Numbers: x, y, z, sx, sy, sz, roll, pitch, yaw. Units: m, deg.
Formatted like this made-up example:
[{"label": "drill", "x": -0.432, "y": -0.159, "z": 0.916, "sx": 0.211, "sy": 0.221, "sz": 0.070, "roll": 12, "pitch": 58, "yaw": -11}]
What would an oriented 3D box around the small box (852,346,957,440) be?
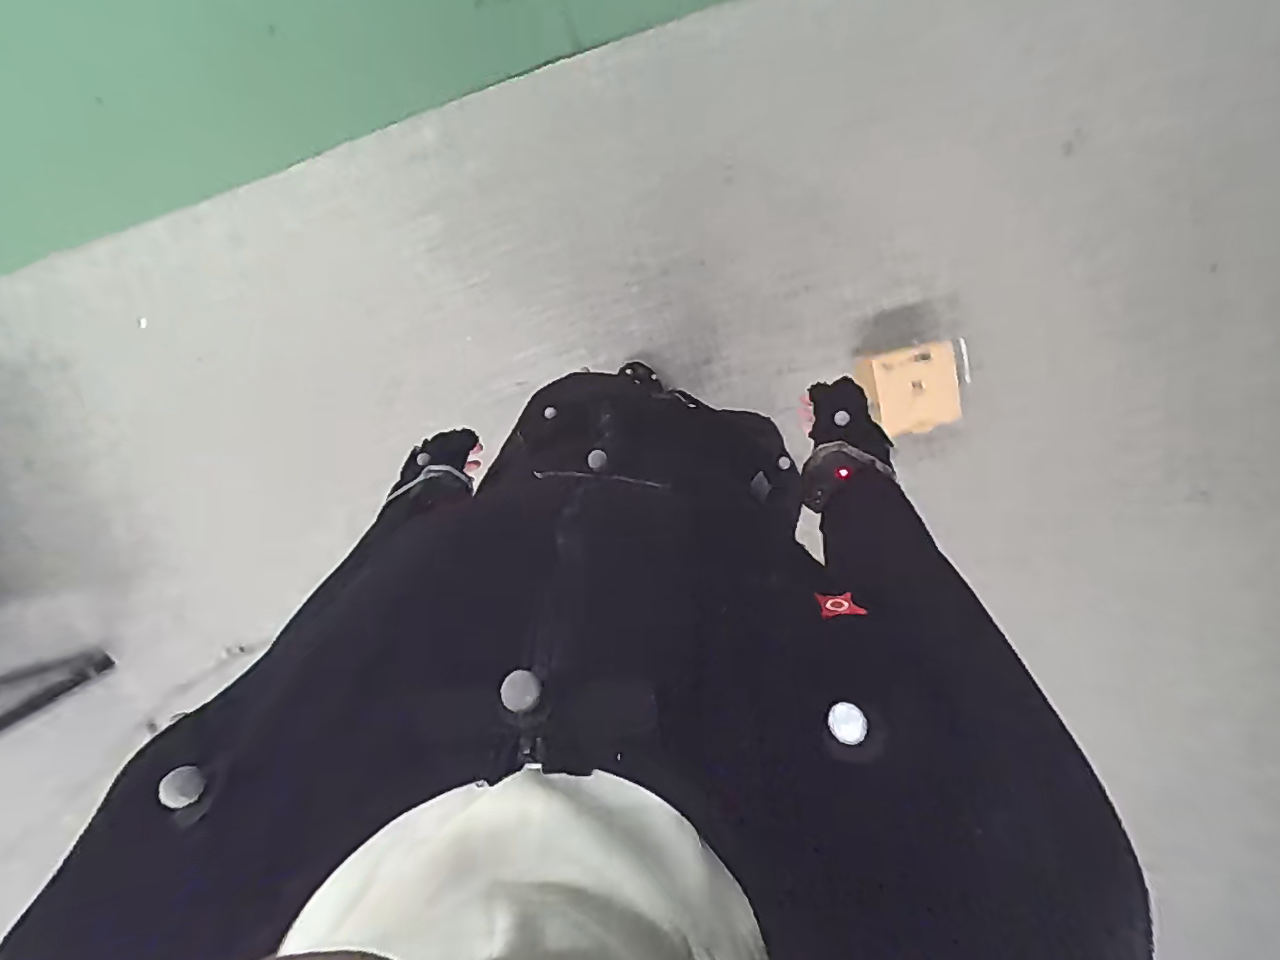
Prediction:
[{"label": "small box", "x": 0.598, "y": -0.202, "z": 1.236, "sx": 0.168, "sy": 0.176, "sz": 0.179, "roll": -10, "pitch": 103, "yaw": 9}]
